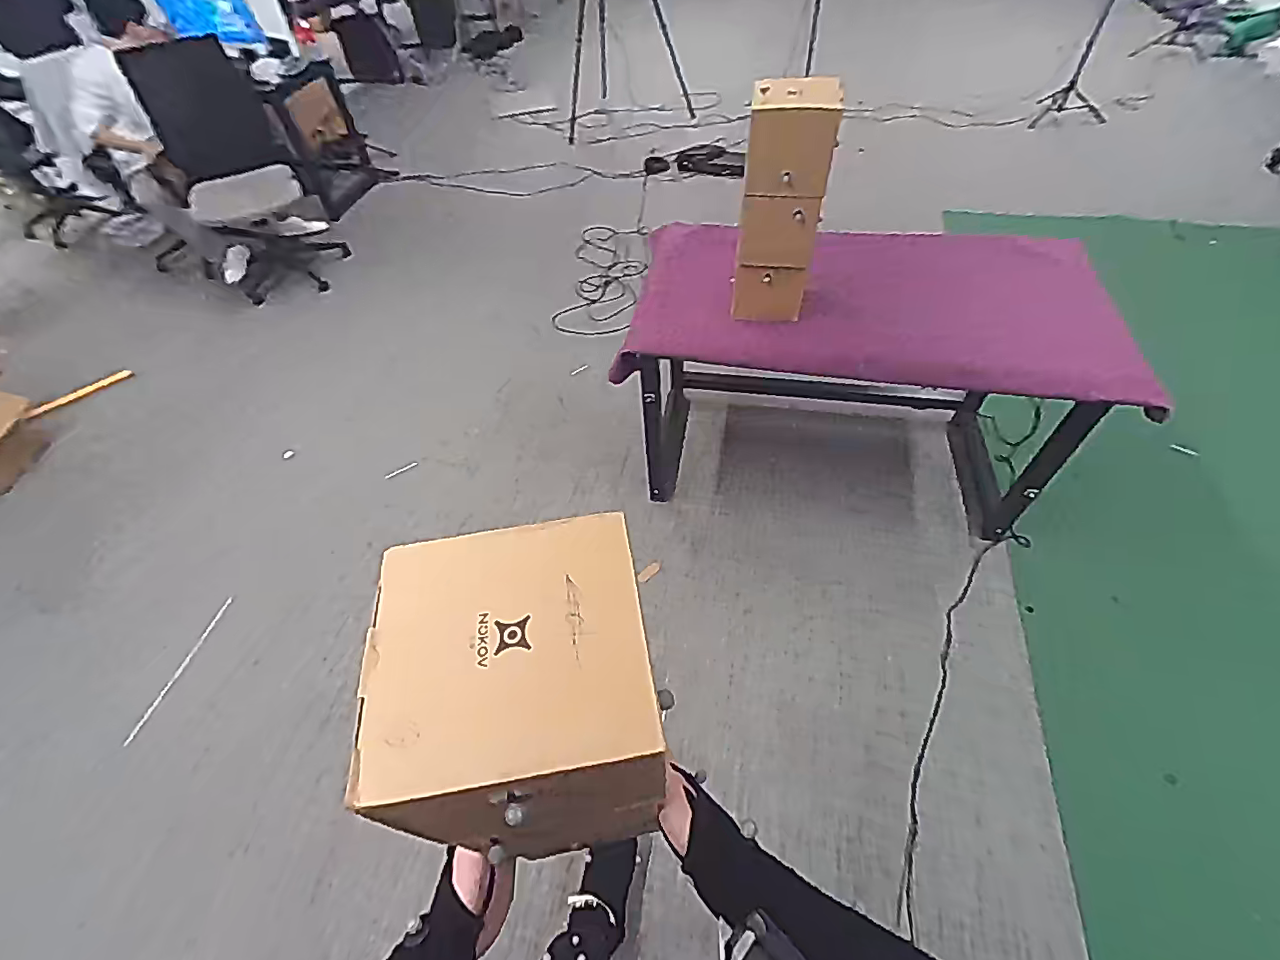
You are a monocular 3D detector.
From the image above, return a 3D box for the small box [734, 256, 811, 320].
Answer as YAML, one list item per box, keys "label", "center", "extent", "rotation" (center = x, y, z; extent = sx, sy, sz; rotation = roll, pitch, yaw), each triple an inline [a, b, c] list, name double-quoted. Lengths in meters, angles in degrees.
- label: "small box"
  center: [0.345, -0.538, 1.420]
  extent: [0.179, 0.176, 0.168]
  rotation: [5, 53, 10]

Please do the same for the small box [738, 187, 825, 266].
- label: "small box"
  center: [0.332, -0.627, 1.280]
  extent: [0.179, 0.176, 0.168]
  rotation: [7, 53, 11]

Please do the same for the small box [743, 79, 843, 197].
- label: "small box"
  center: [0.321, -0.723, 1.149]
  extent: [0.179, 0.176, 0.168]
  rotation: [7, 53, 9]

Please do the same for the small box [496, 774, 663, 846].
- label: "small box"
  center: [-0.071, 0.341, 0.677]
  extent: [0.179, 0.176, 0.168]
  rotation: [-9, 51, -4]

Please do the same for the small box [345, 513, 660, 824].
- label: "small box"
  center: [-0.083, 0.148, 0.412]
  extent: [0.179, 0.176, 0.168]
  rotation: [-8, 52, -2]
